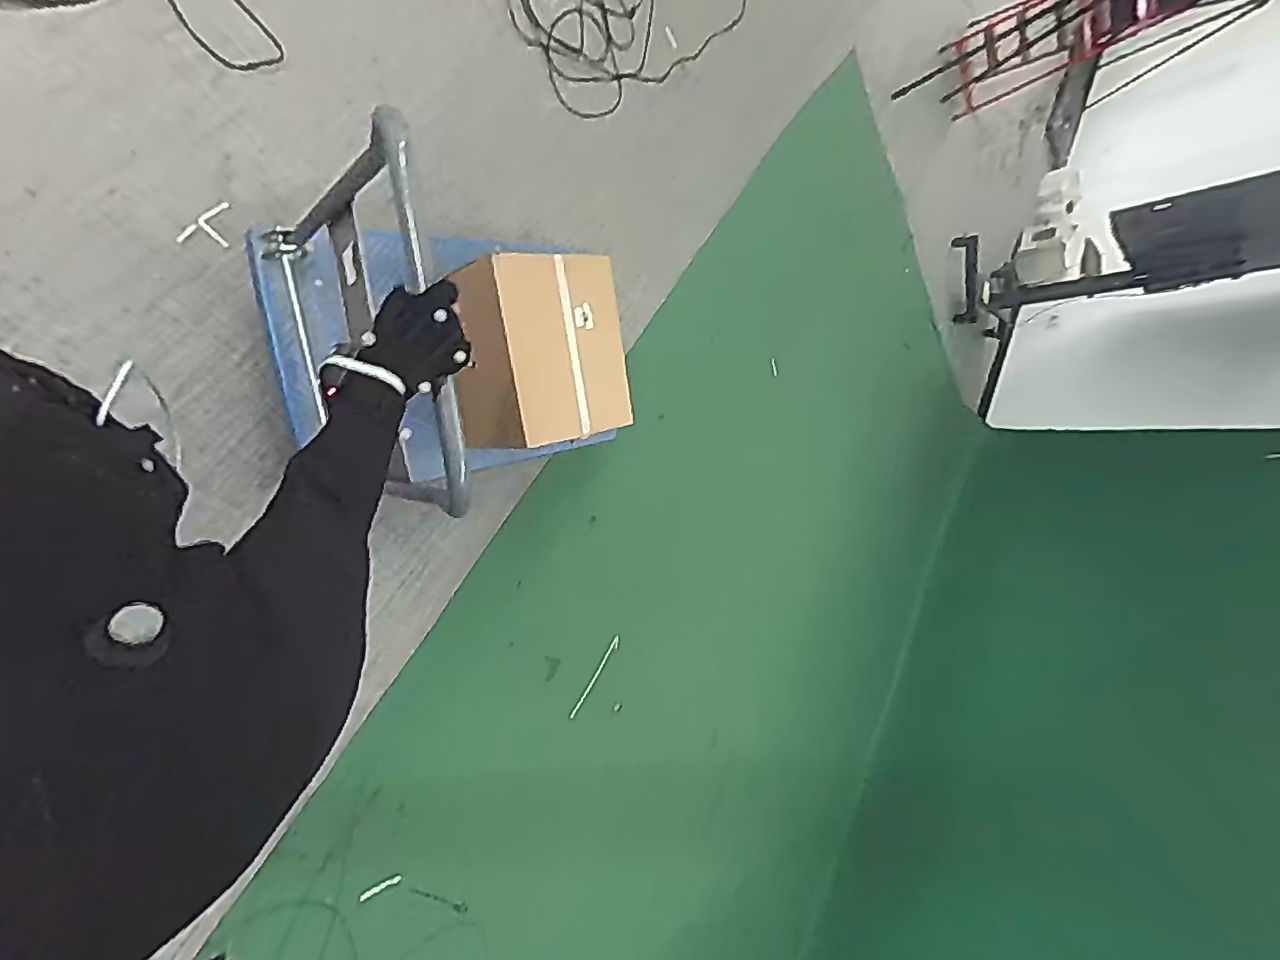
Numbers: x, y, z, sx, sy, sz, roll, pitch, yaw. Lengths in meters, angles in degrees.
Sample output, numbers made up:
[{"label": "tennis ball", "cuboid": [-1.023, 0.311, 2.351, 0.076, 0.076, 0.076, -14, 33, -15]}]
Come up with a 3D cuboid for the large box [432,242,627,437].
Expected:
[{"label": "large box", "cuboid": [-0.271, -0.331, 1.330, 0.320, 0.320, 0.408, -18, 105, -41]}]
